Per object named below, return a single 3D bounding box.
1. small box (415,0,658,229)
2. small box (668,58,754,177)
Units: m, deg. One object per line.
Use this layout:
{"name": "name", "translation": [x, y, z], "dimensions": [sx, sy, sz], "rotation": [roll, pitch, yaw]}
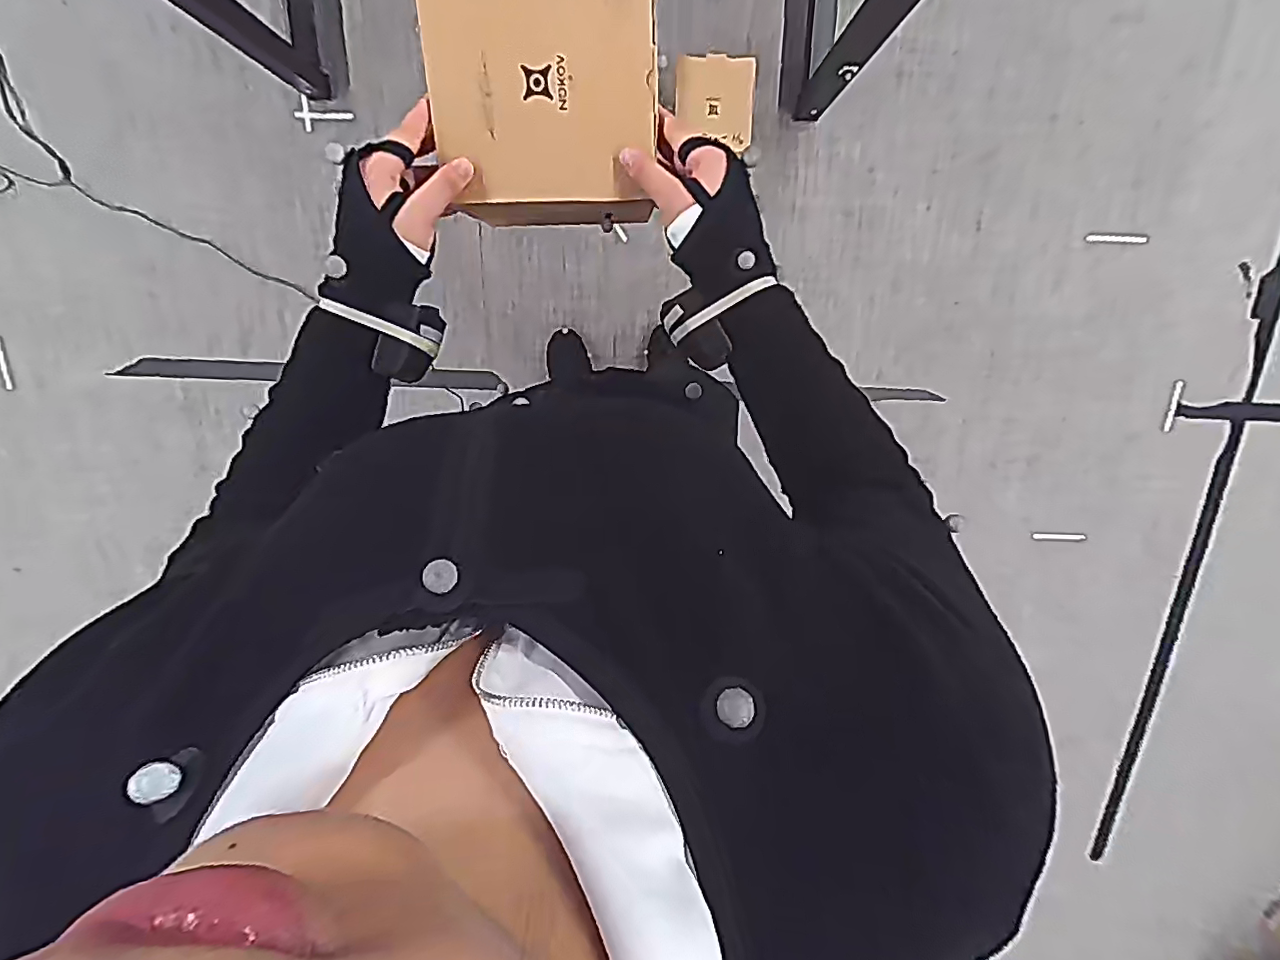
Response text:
{"name": "small box", "translation": [-0.077, -0.327, 0.485], "dimensions": [0.179, 0.176, 0.168], "rotation": [-2, 108, 0]}
{"name": "small box", "translation": [0.150, -0.800, 1.209], "dimensions": [0.168, 0.176, 0.179], "rotation": [1, 105, 0]}
